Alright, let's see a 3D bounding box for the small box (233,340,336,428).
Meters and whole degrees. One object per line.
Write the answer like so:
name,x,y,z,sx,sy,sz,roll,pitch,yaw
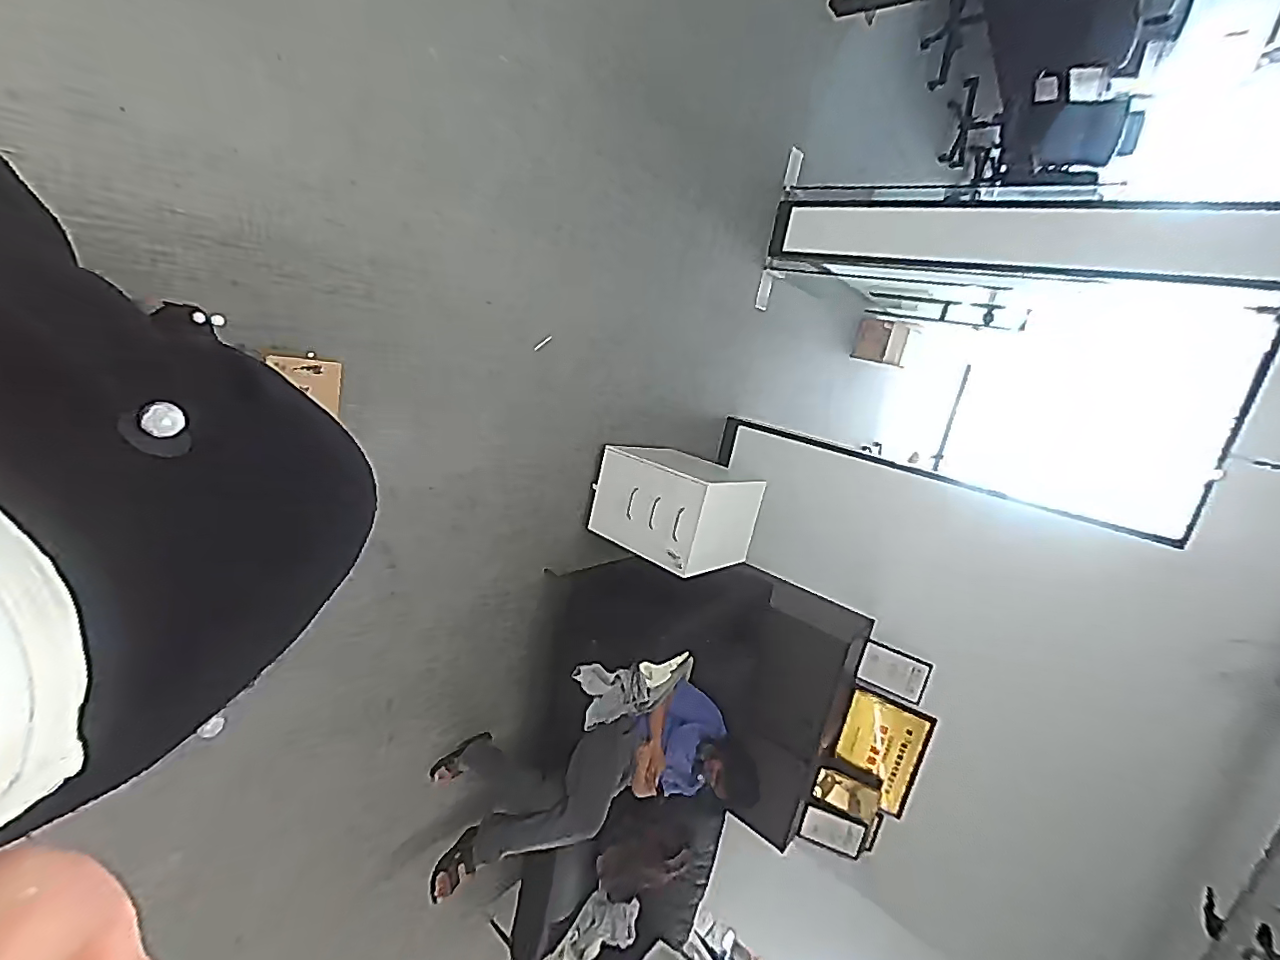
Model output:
small box,-0.886,-0.238,1.345,0.168,0.176,0.179,-5,112,-53
